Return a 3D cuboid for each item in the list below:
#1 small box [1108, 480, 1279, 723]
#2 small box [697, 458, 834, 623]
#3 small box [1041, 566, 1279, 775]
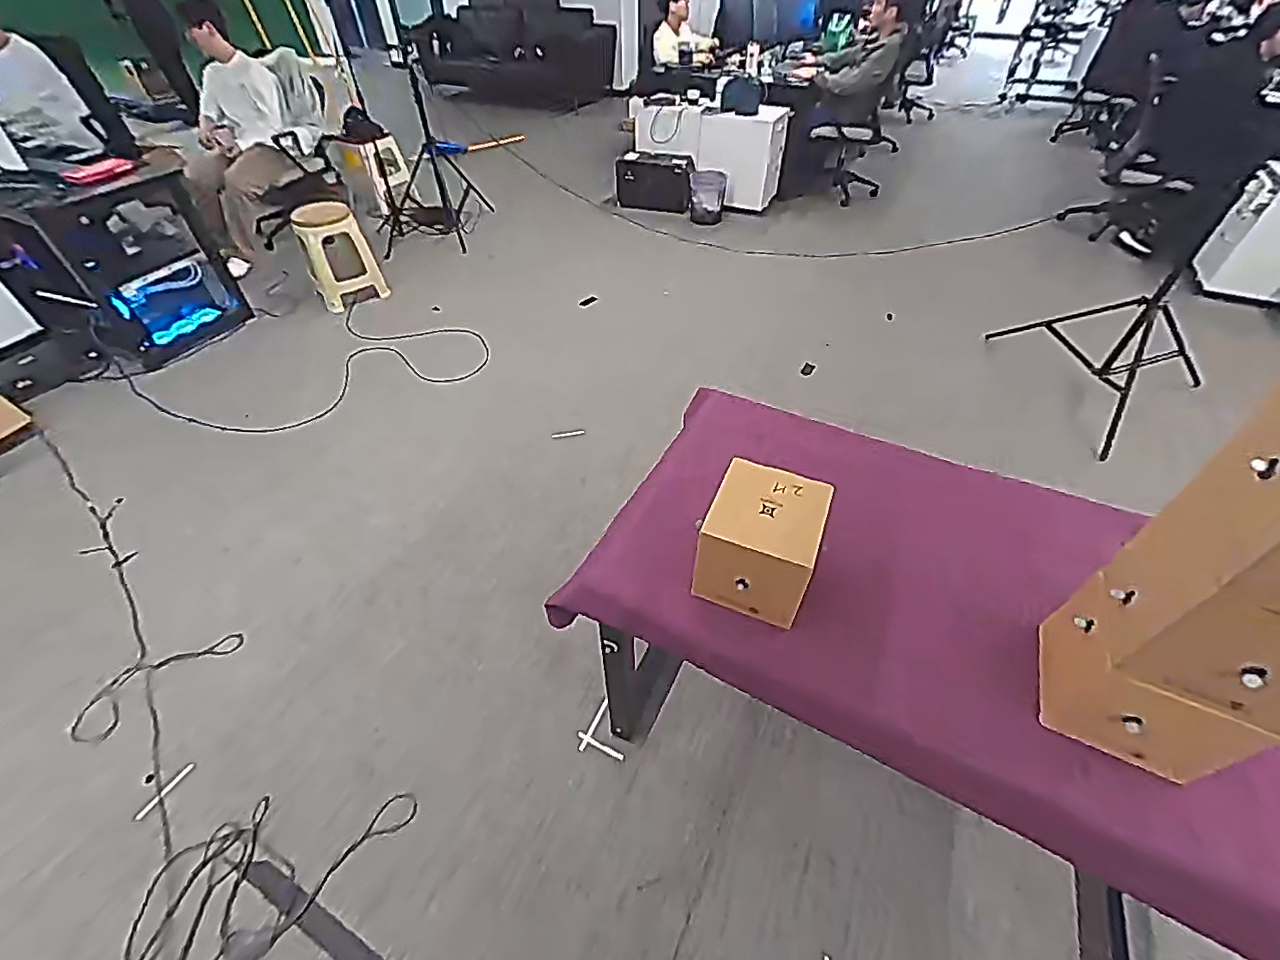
[{"bbox_3d":[0.669,0.137,0.606,0.168,0.176,0.179,21,49,20],"label":"small box"},{"bbox_3d":[0.195,0.099,0.869,0.168,0.176,0.179,18,47,16],"label":"small box"},{"bbox_3d":[0.668,0.255,0.720,0.168,0.176,0.179,20,49,19],"label":"small box"}]
